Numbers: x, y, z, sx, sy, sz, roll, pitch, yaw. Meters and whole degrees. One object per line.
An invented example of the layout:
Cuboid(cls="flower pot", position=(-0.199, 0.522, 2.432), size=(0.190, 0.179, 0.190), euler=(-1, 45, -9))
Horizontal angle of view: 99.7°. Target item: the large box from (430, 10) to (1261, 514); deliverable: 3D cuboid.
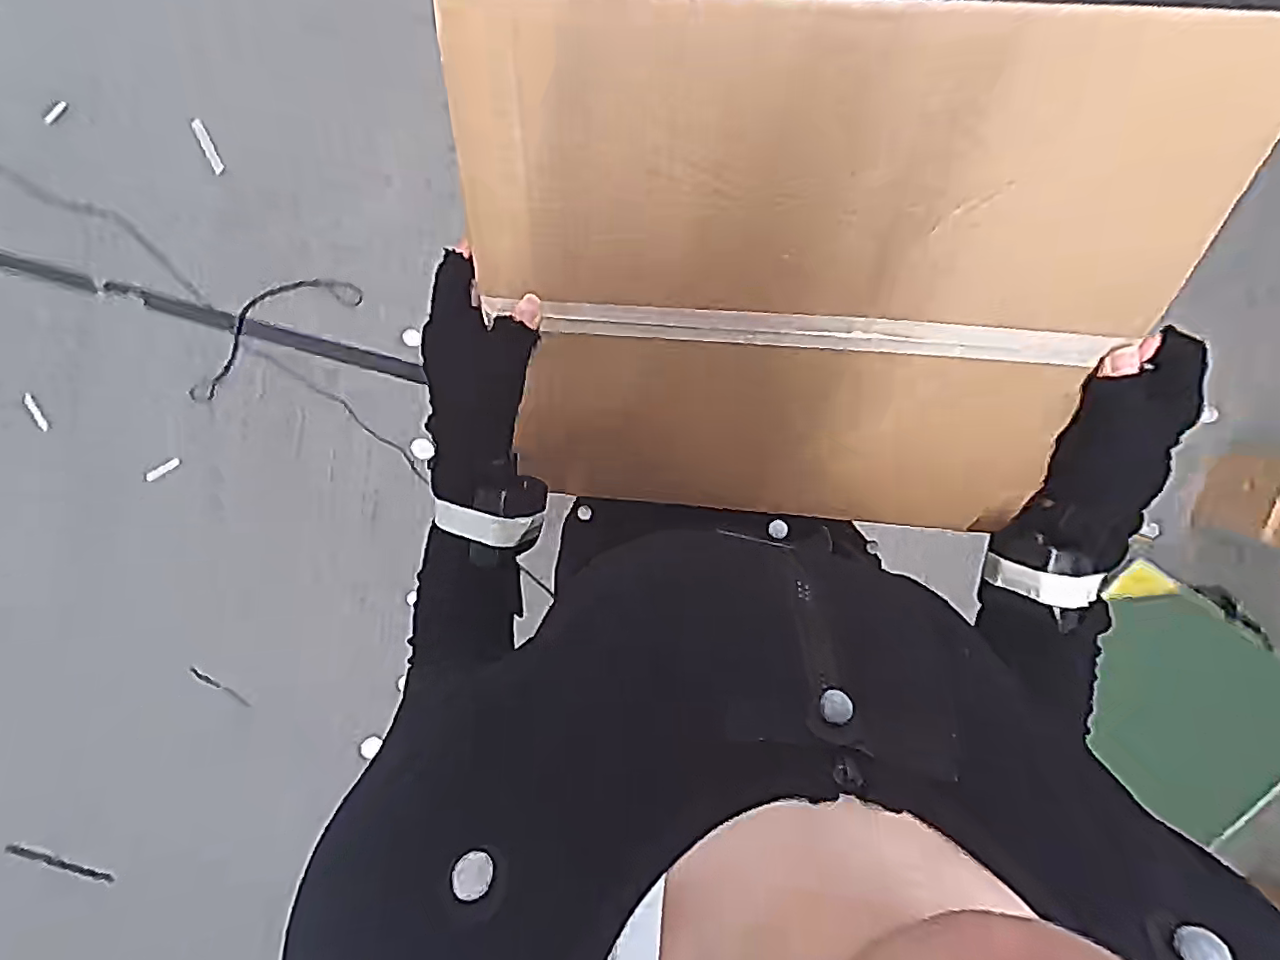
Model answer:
Cuboid(cls="large box", position=(0.100, -0.194, 0.469), size=(0.408, 0.320, 0.320), euler=(4, 131, 4))
